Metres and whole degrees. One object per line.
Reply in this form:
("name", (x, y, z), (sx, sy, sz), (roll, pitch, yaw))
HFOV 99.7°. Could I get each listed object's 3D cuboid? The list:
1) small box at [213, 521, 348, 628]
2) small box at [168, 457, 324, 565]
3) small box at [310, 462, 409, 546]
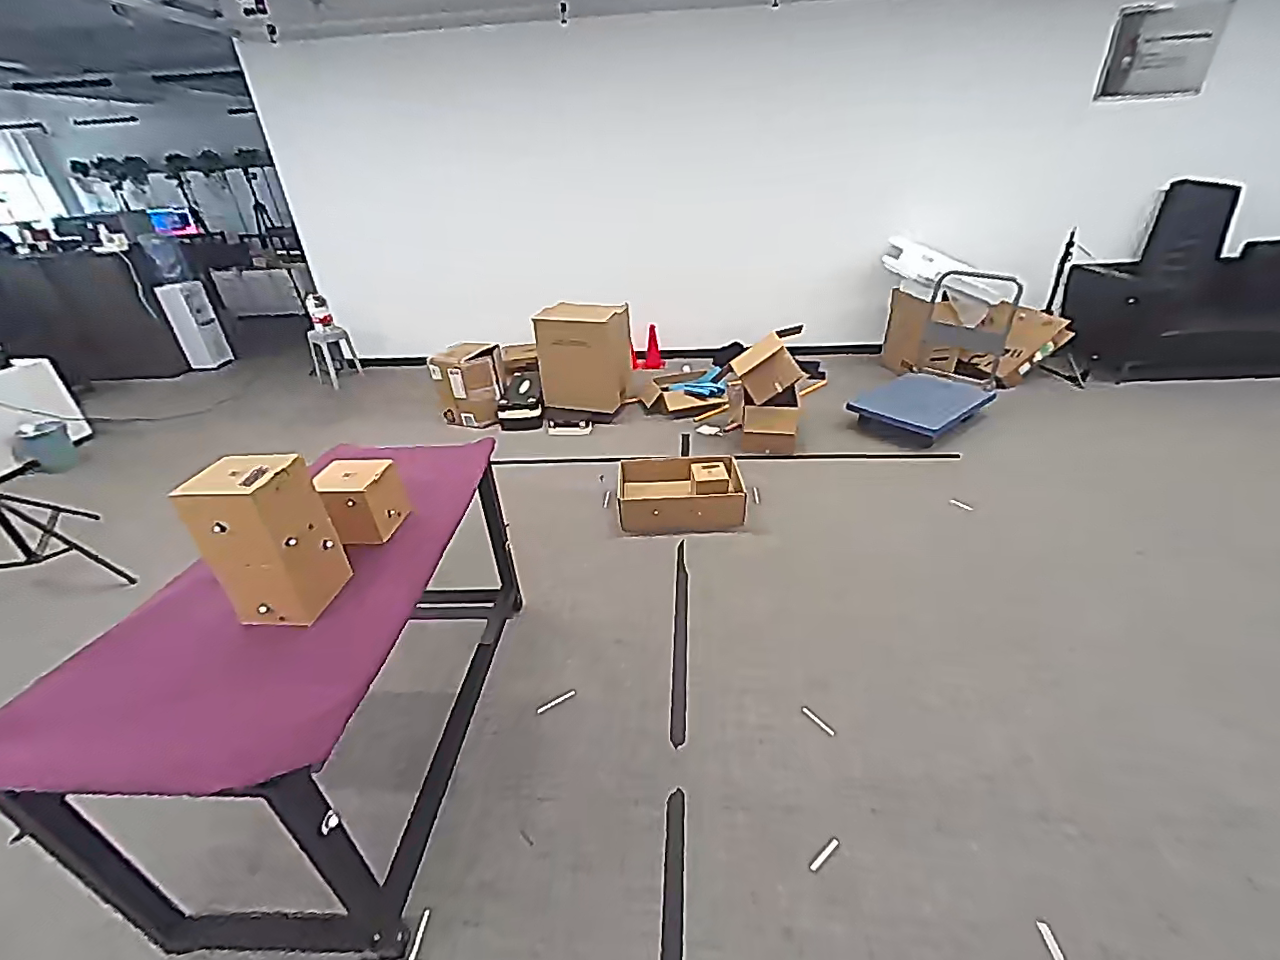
("small box", (-0.789, 0.207, 1.213), (0.168, 0.176, 0.179), (-1, 30, 6))
("small box", (-0.806, 0.065, 1.131), (0.179, 0.176, 0.168), (-2, 30, 4))
("small box", (-0.756, 0.065, 1.454), (0.179, 0.176, 0.168), (-1, 30, 6))
